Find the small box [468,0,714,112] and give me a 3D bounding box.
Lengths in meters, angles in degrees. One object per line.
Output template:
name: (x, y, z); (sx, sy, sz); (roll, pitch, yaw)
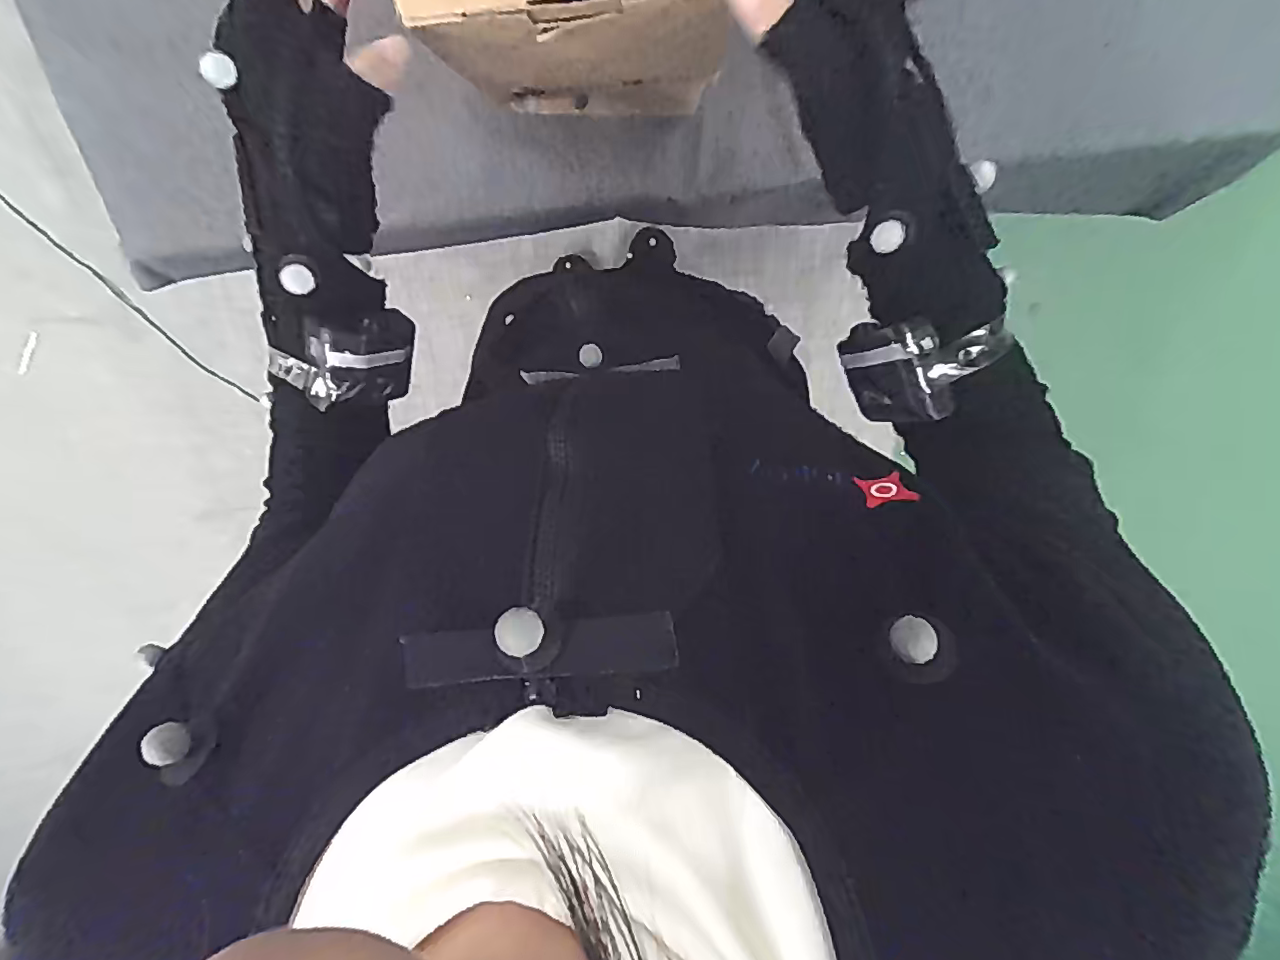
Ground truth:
small box: (-0.034, -0.414, 0.435); (0.179, 0.176, 0.168); (-2, 112, 2)
